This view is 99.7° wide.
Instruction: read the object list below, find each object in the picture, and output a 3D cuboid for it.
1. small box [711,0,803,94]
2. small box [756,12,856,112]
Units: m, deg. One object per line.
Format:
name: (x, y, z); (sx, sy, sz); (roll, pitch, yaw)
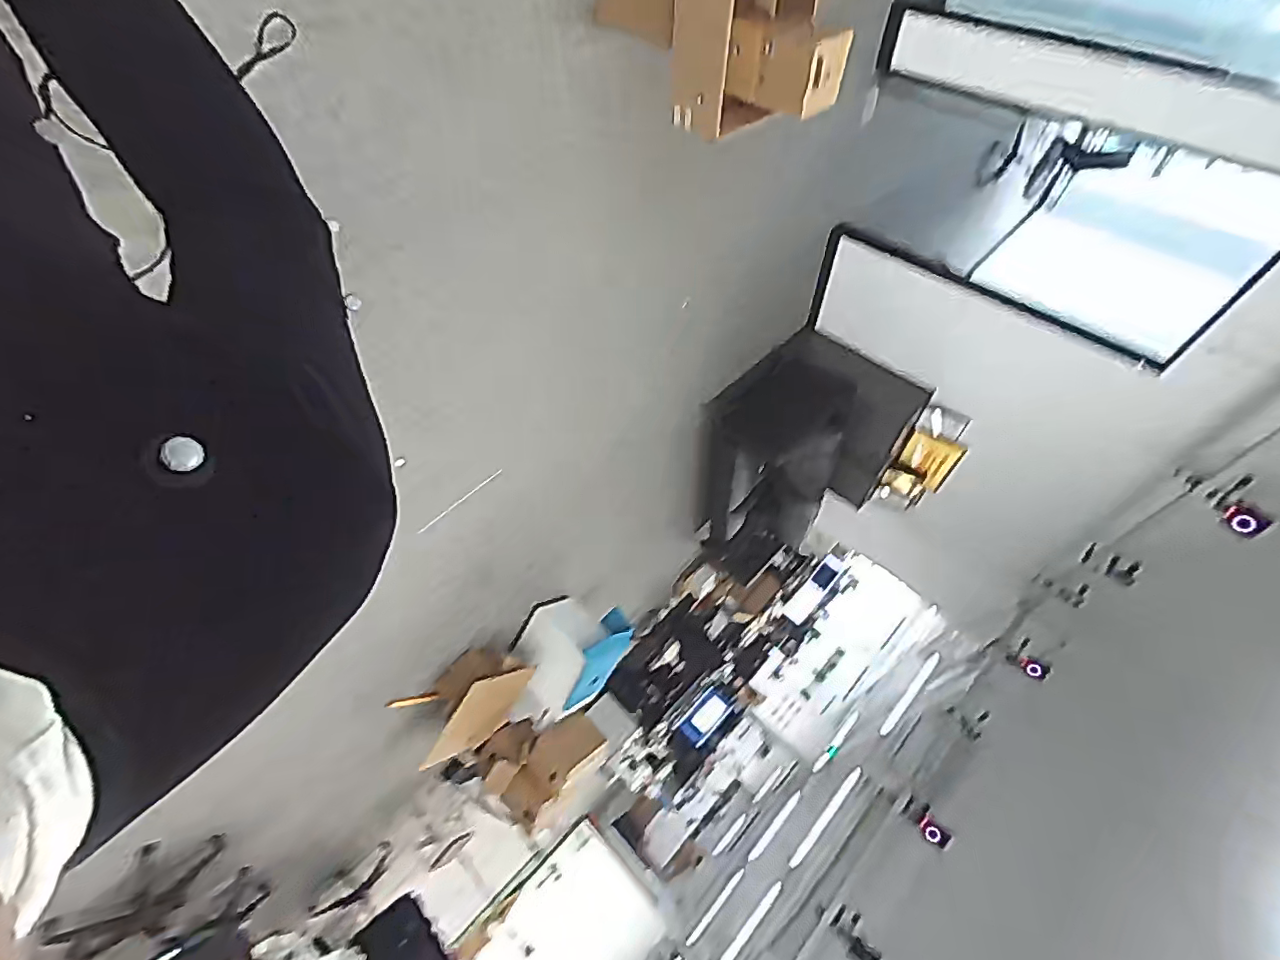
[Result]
small box: (0.319, -1.213, 1.512); (0.179, 0.176, 0.168); (-38, 152, -26)
small box: (0.436, -1.119, 1.444); (0.179, 0.176, 0.168); (-39, 153, -26)
